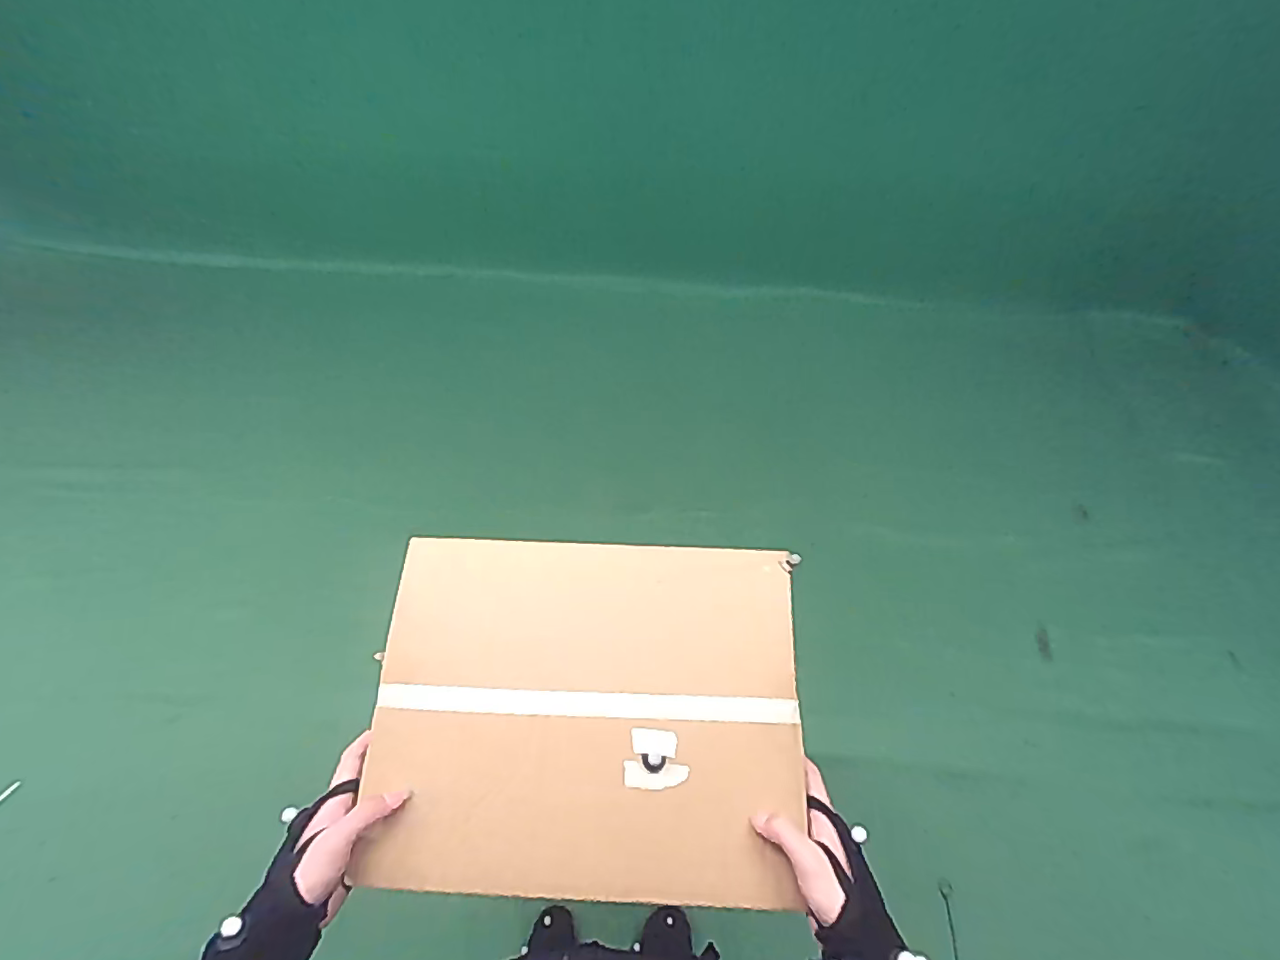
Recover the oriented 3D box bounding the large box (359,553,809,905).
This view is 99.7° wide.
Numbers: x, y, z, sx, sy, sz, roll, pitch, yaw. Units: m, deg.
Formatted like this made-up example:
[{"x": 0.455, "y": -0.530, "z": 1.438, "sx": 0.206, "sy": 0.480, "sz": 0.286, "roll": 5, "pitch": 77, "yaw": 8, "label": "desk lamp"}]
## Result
[{"x": -0.050, "y": 0.281, "z": 0.663, "sx": 0.408, "sy": 0.320, "sz": 0.320, "roll": 1, "pitch": 69, "yaw": 0, "label": "large box"}]
